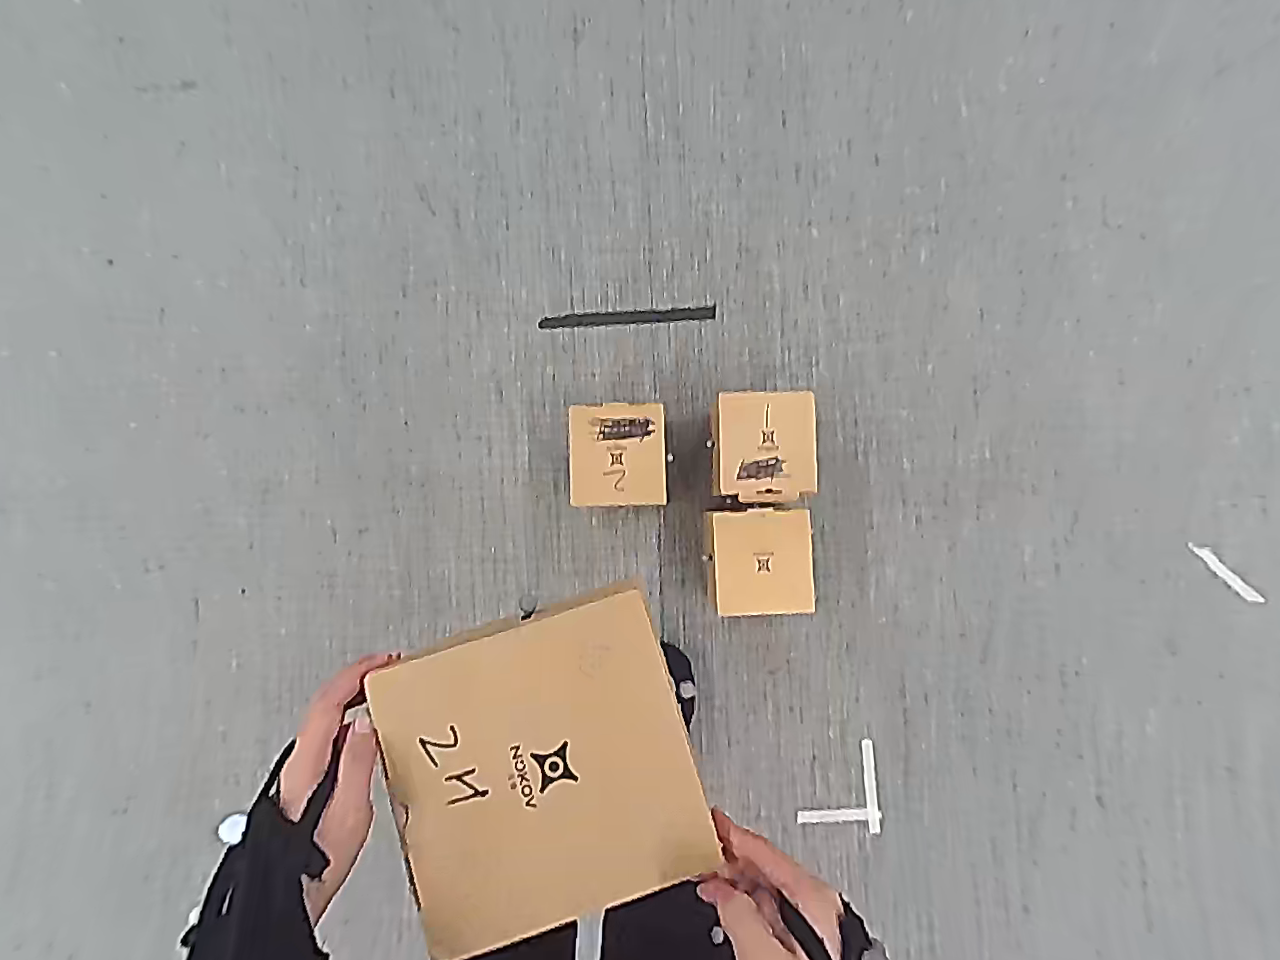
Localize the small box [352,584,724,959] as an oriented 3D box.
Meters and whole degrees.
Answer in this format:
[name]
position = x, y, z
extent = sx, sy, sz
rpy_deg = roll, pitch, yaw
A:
[small box]
position = -0.061, 0.178, 0.382
extent = 0.179, 0.176, 0.168
rpy_deg = -18, 82, -3
